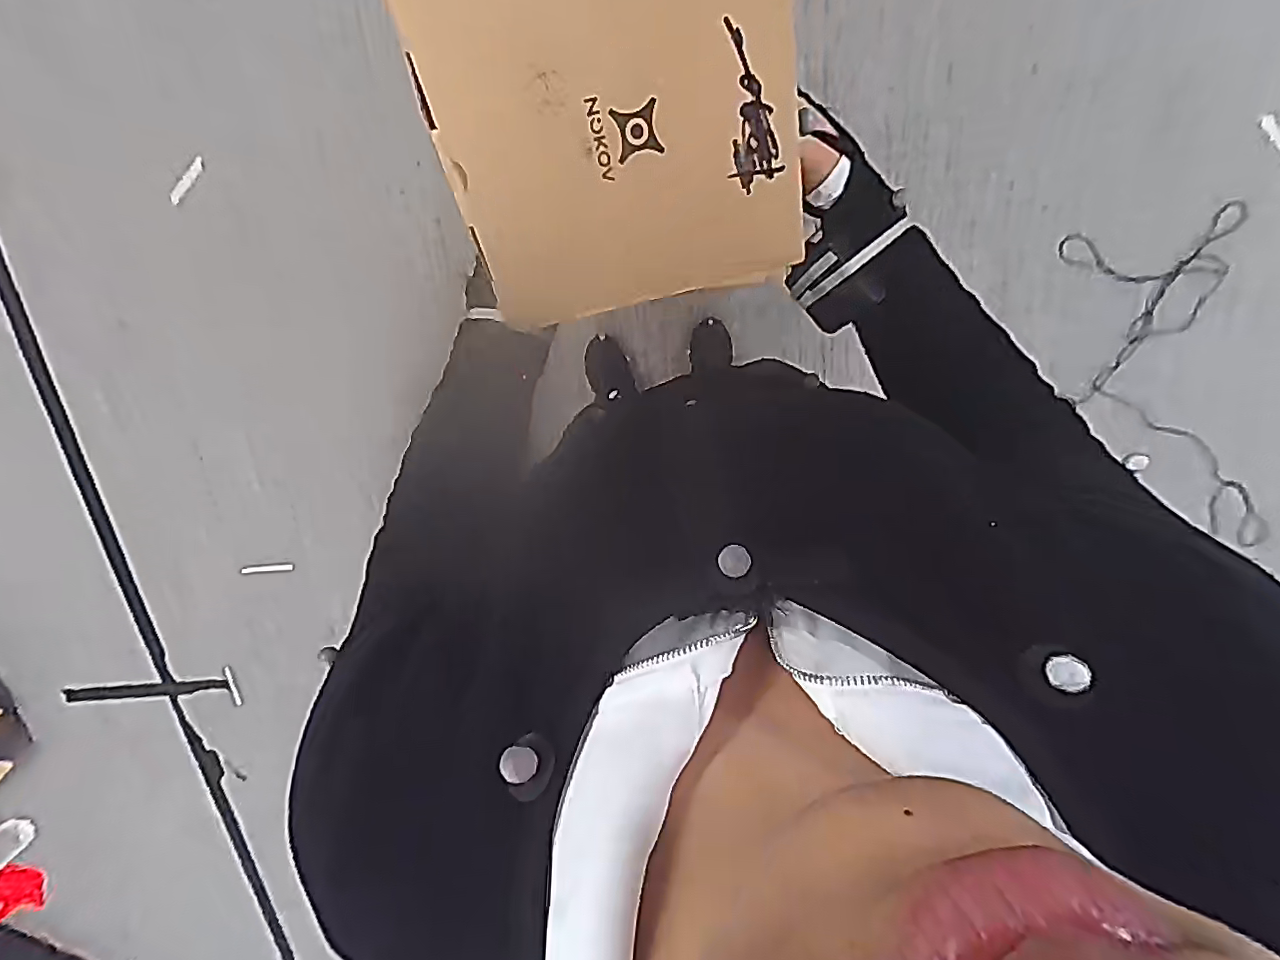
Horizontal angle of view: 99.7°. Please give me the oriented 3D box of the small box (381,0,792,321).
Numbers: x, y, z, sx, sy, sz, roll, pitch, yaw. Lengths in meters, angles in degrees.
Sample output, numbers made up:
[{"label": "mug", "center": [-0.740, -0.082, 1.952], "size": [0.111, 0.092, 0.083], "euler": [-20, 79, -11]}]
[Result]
[{"label": "small box", "center": [-0.018, -0.220, 0.333], "size": [0.179, 0.176, 0.168], "euler": [-12, 126, 5]}]
